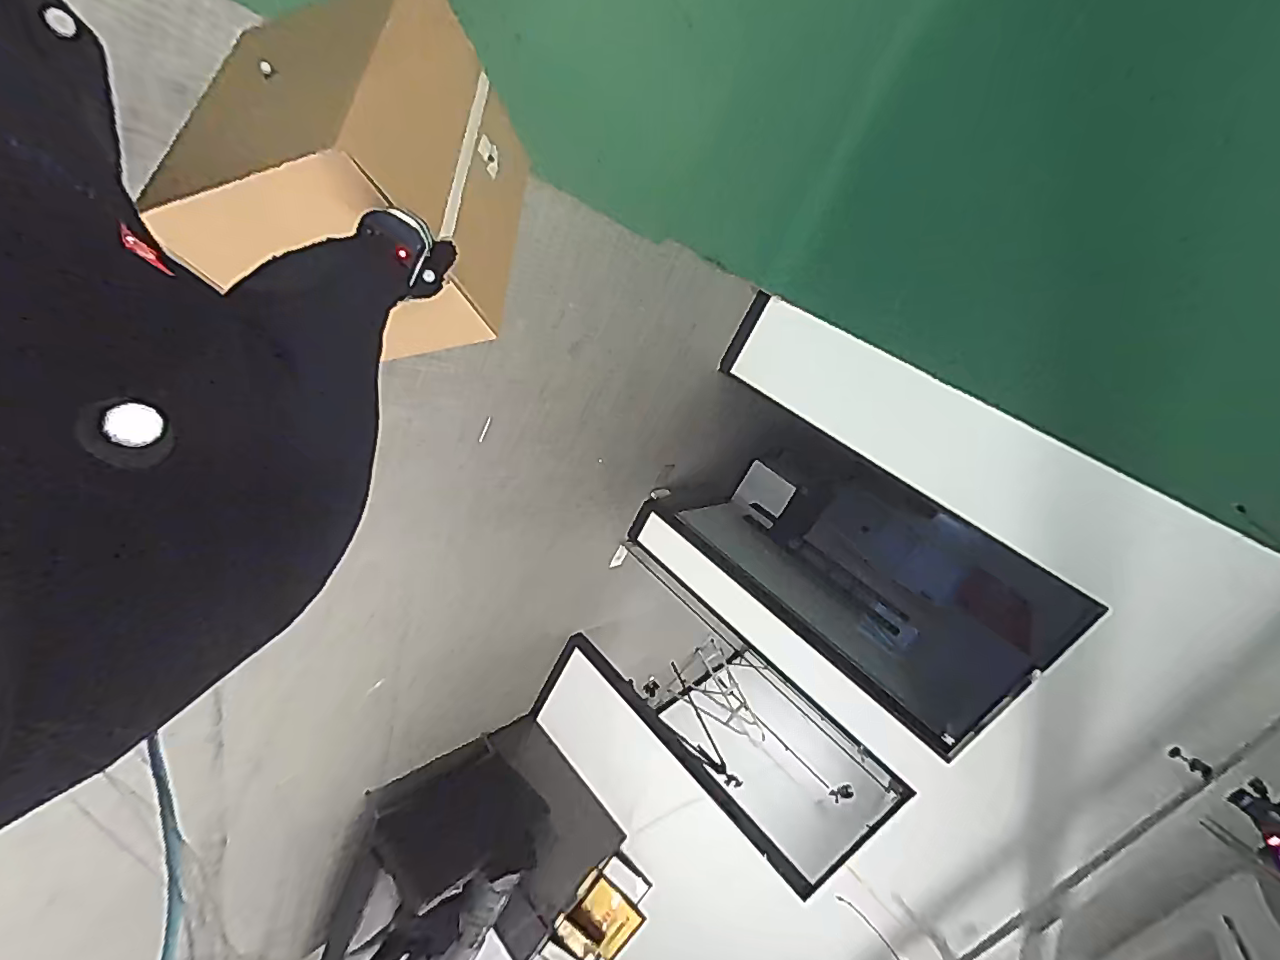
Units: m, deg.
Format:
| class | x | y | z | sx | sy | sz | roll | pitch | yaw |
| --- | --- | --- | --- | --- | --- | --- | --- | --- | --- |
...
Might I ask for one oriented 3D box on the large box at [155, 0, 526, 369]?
| class | x | y | z | sx | sy | sz | roll | pitch | yaw |
| --- | --- | --- | --- | --- | --- | --- | --- | --- | --- |
| large box | -0.397 | -0.436 | 0.810 | 0.320 | 0.320 | 0.408 | 54 | 33 | -60 |
